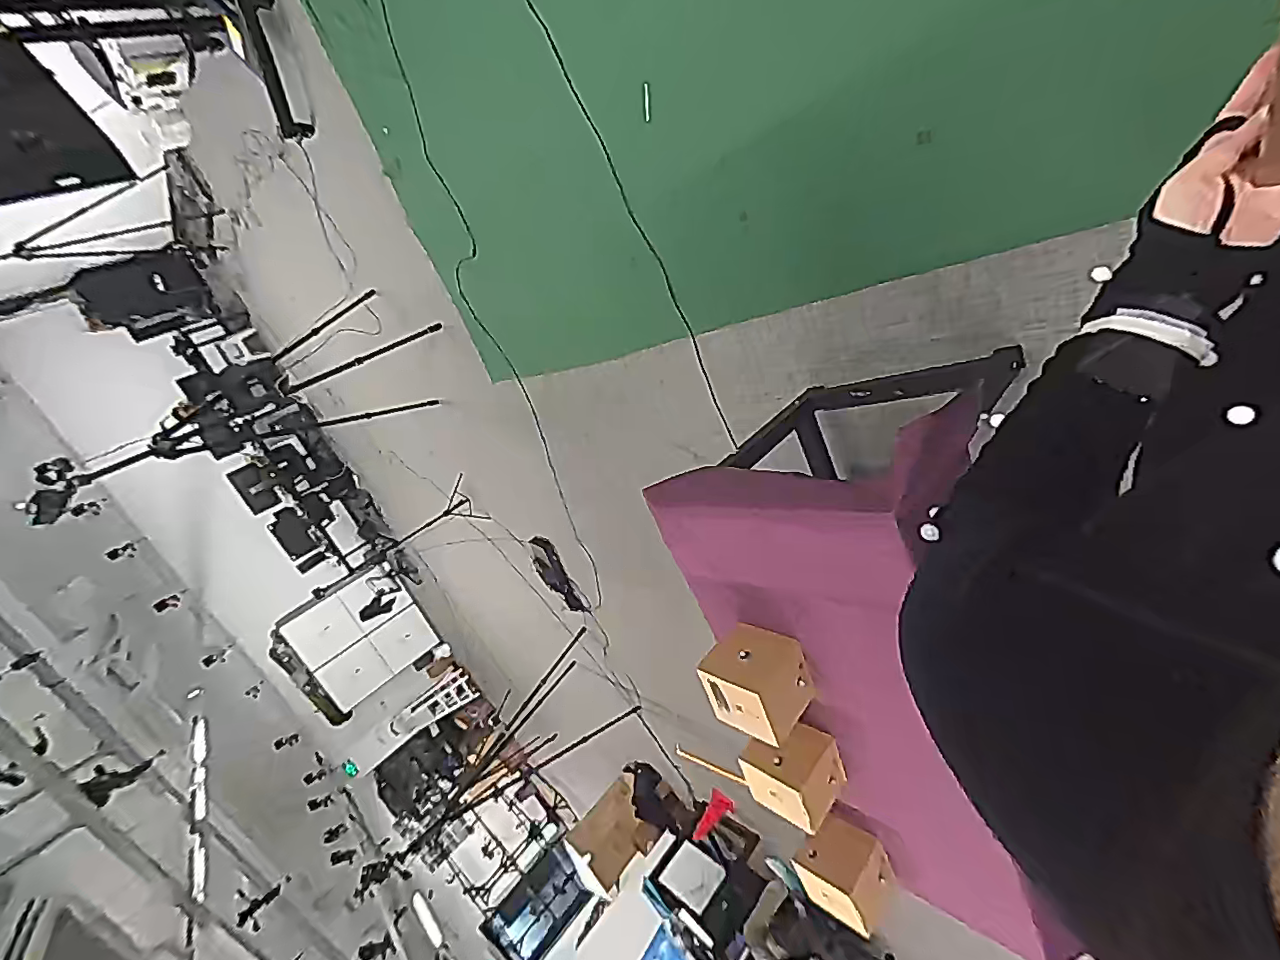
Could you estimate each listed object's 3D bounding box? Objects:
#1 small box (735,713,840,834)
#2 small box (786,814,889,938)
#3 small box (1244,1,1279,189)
[{"bbox_3d":[0.368,0.716,1.344,0.179,0.176,0.168,7,125,47],"label":"small box"},{"bbox_3d":[0.526,1.036,1.436,0.179,0.176,0.168,-2,118,52],"label":"small box"},{"bbox_3d":[0.438,-0.276,0.252,0.179,0.168,0.176,16,91,46],"label":"small box"}]
